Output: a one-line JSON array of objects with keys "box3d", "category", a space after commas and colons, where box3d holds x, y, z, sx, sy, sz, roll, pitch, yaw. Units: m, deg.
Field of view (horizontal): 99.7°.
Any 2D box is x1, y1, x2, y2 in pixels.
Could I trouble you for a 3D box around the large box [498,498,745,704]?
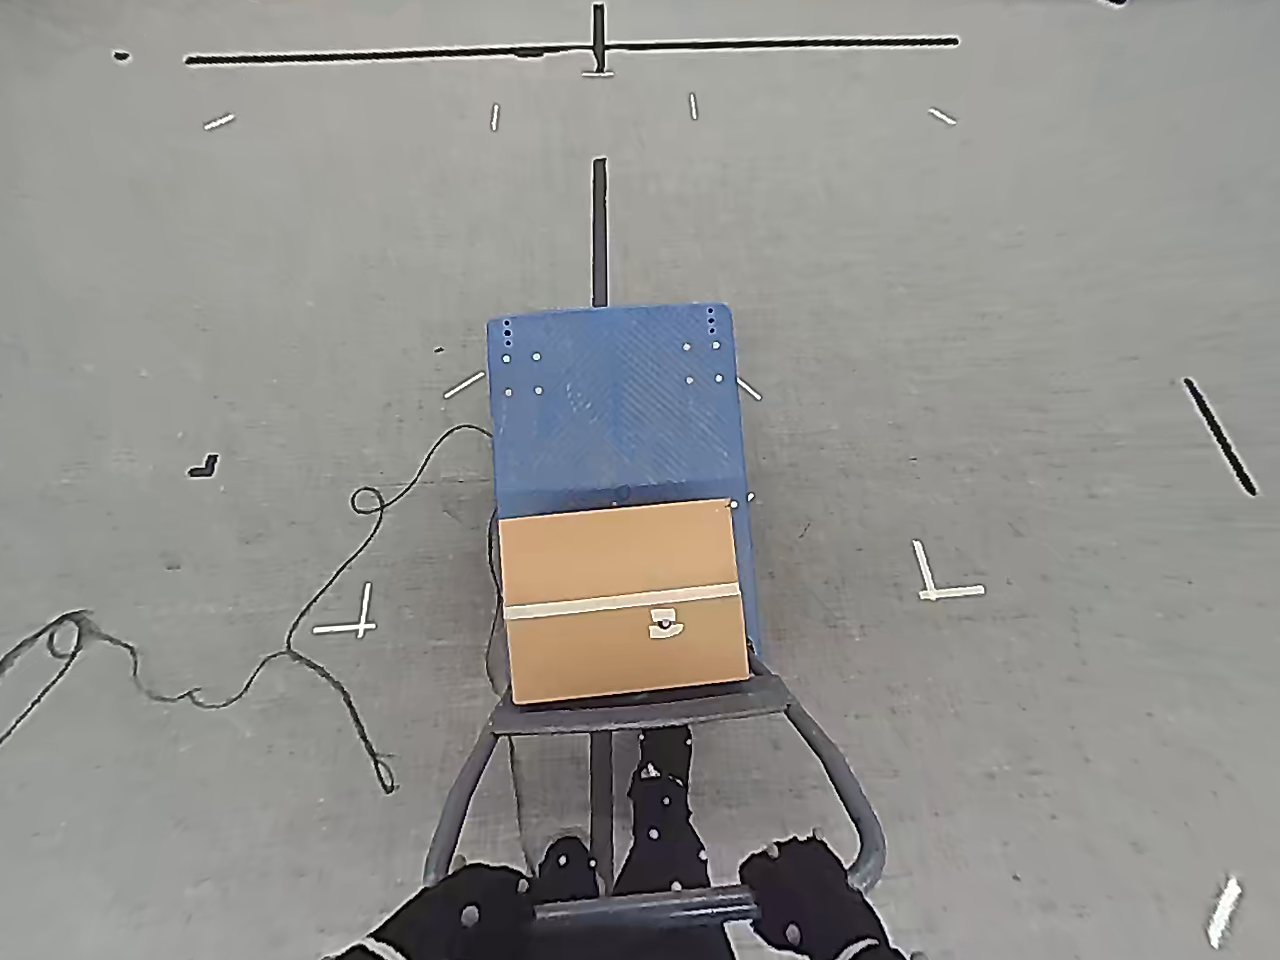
[{"box3d": [-0.040, 0.215, 1.071, 0.408, 0.320, 0.320, -5, 87, -3], "category": "large box"}]
